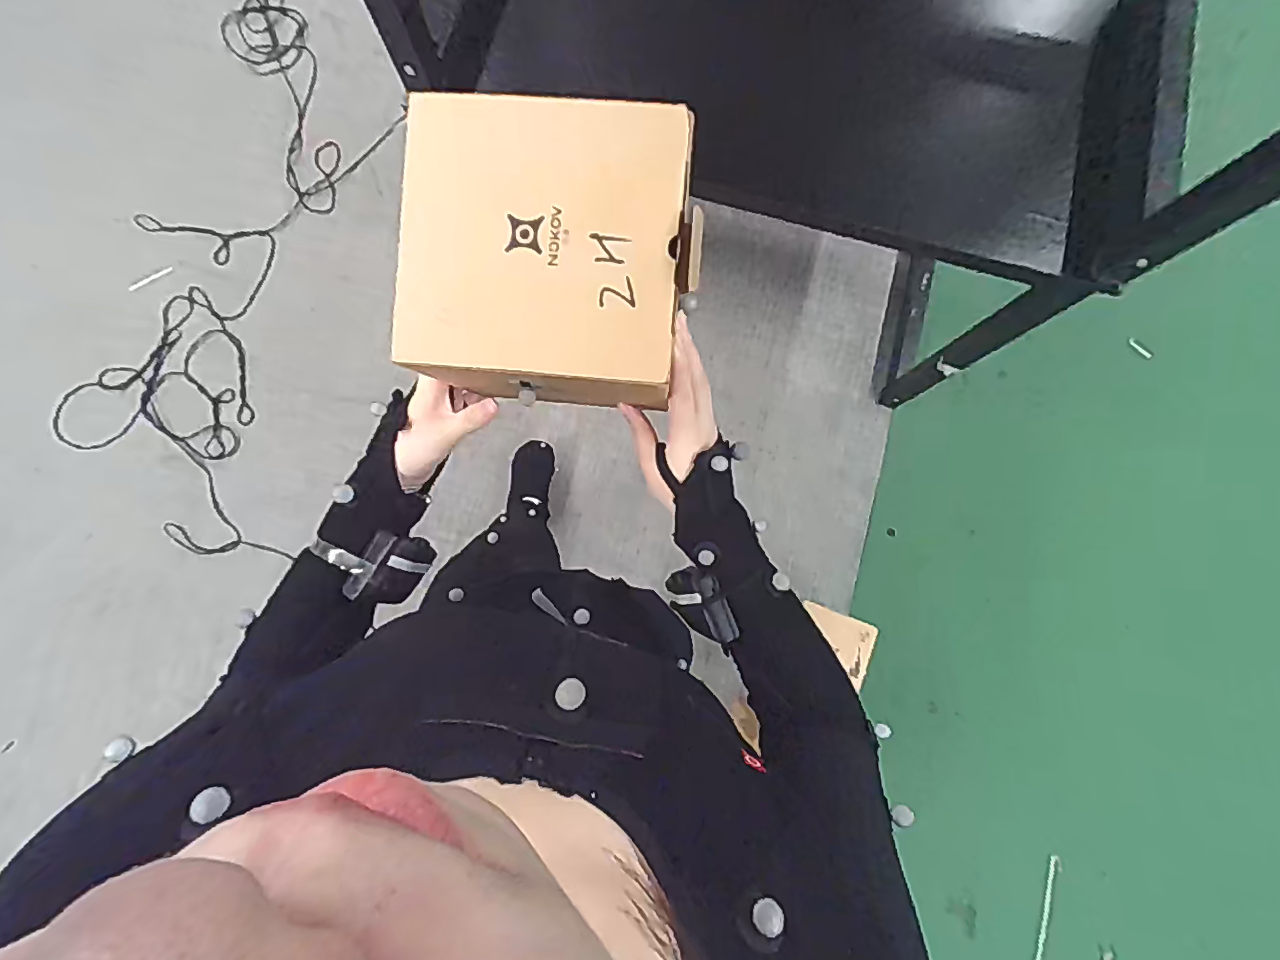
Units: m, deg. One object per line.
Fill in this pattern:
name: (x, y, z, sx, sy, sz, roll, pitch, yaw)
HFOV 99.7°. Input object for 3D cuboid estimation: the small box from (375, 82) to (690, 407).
small box: (-0.061, -0.147, 0.395, 0.179, 0.176, 0.168, 5, 93, 2)

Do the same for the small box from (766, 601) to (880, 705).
small box: (0.406, 0.383, 1.232, 0.179, 0.176, 0.168, 22, 81, 2)

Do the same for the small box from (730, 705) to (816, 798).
small box: (0.326, 0.680, 1.352, 0.168, 0.176, 0.179, 8, 82, 1)

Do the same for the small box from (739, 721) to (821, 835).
small box: (0.320, 0.646, 1.194, 0.168, 0.176, 0.179, -4, 82, 0)
